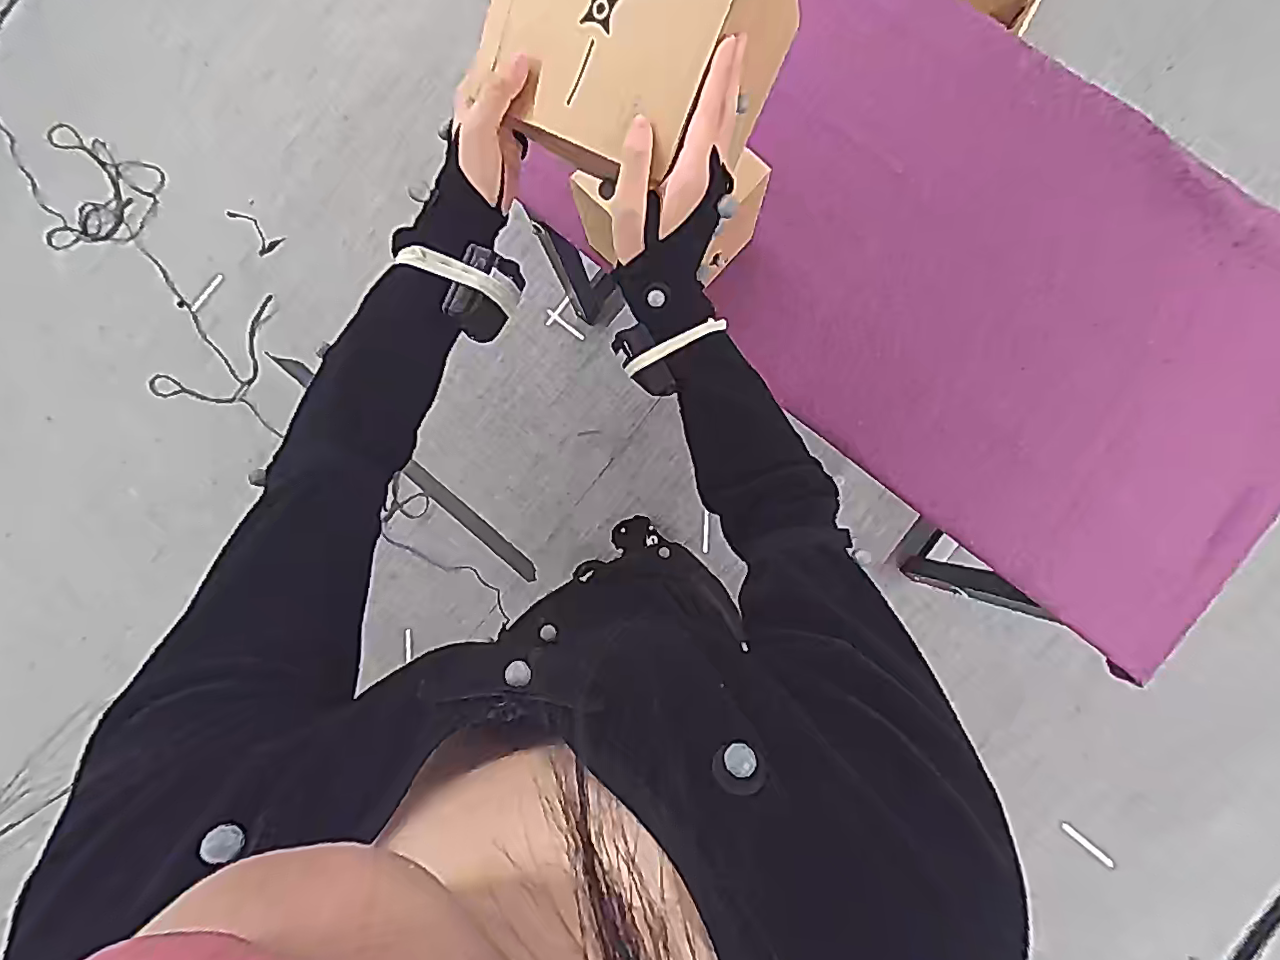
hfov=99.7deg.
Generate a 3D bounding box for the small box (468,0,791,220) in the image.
[{"bbox_3d":[0.004,-0.331,0.416,0.168,0.176,0.179,29,112,9],"label":"small box"}]

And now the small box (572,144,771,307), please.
[{"bbox_3d":[0.040,-0.353,0.707,0.179,0.176,0.168,43,90,4],"label":"small box"}]
